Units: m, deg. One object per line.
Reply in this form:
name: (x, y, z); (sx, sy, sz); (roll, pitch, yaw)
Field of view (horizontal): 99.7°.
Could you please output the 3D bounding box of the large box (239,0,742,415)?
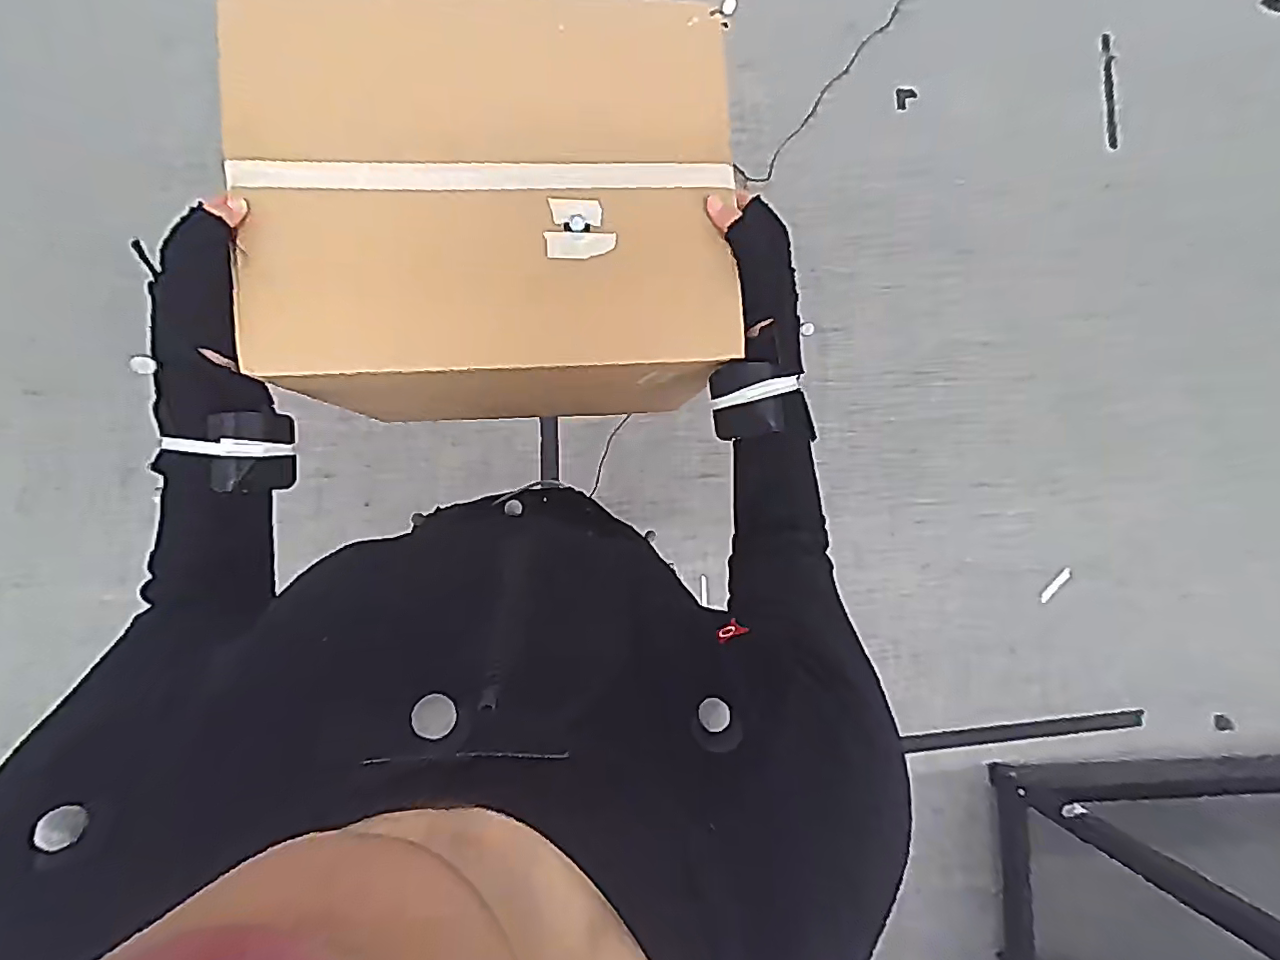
large box: (-0.135, -0.255, 0.603); (0.408, 0.320, 0.320); (-3, 91, -7)
